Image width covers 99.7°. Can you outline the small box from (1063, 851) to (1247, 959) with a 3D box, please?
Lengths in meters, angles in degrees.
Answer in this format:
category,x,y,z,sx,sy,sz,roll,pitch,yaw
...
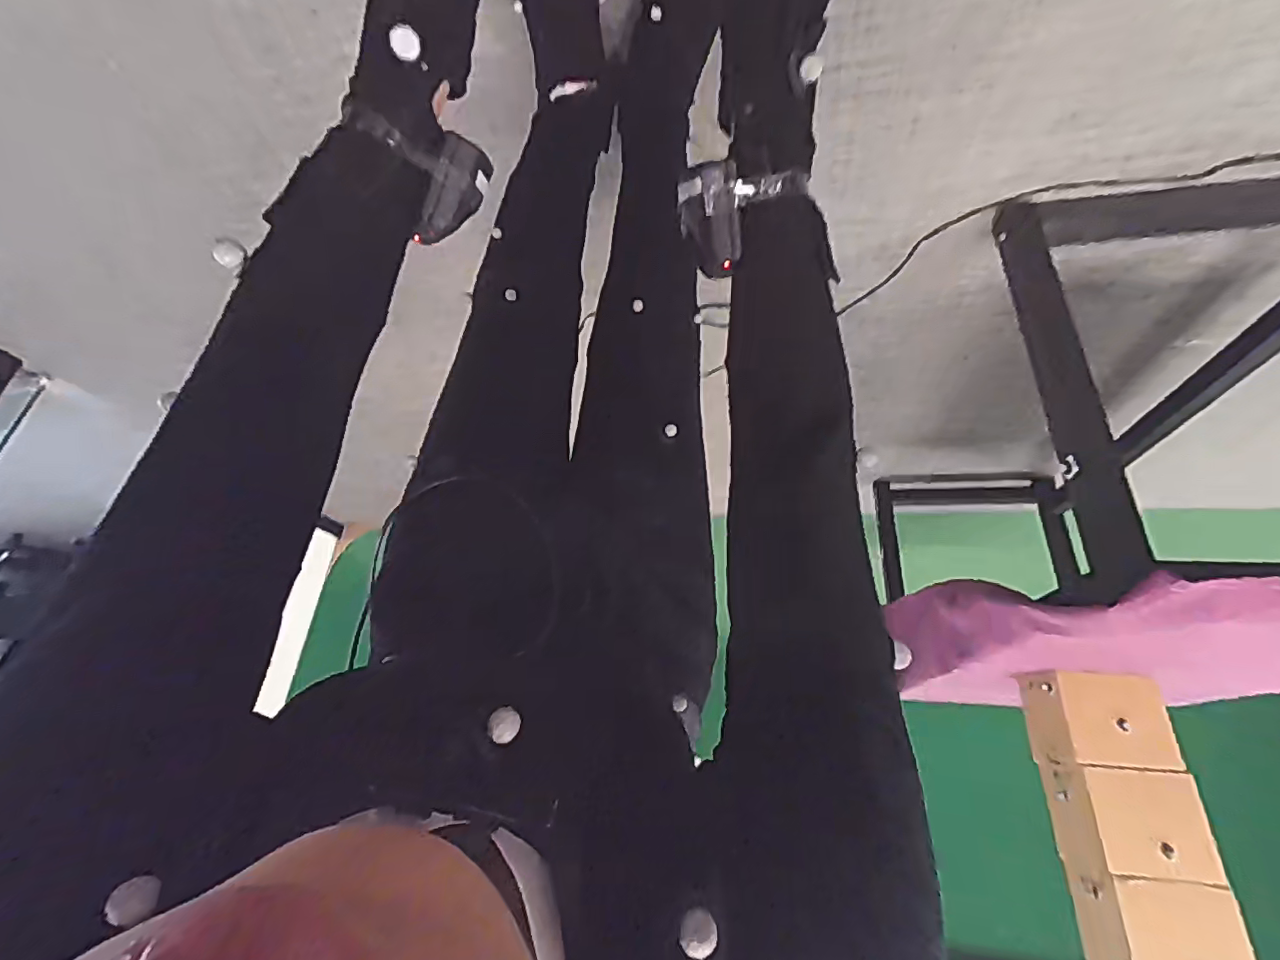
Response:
category,x,y,z,sx,sy,sz,roll,pitch,yaw
small box,0.887,0.761,0.936,0.179,0.176,0.168,-1,153,11

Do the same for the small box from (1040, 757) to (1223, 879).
category,x,y,z,sx,sy,sz,roll,pitch,yaw
small box,0.895,0.614,1.007,0.179,0.176,0.168,0,154,11

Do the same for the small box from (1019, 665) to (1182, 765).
category,x,y,z,sx,sy,sz,roll,pitch,yaw
small box,0.900,0.467,1.081,0.179,0.176,0.168,-1,154,10
